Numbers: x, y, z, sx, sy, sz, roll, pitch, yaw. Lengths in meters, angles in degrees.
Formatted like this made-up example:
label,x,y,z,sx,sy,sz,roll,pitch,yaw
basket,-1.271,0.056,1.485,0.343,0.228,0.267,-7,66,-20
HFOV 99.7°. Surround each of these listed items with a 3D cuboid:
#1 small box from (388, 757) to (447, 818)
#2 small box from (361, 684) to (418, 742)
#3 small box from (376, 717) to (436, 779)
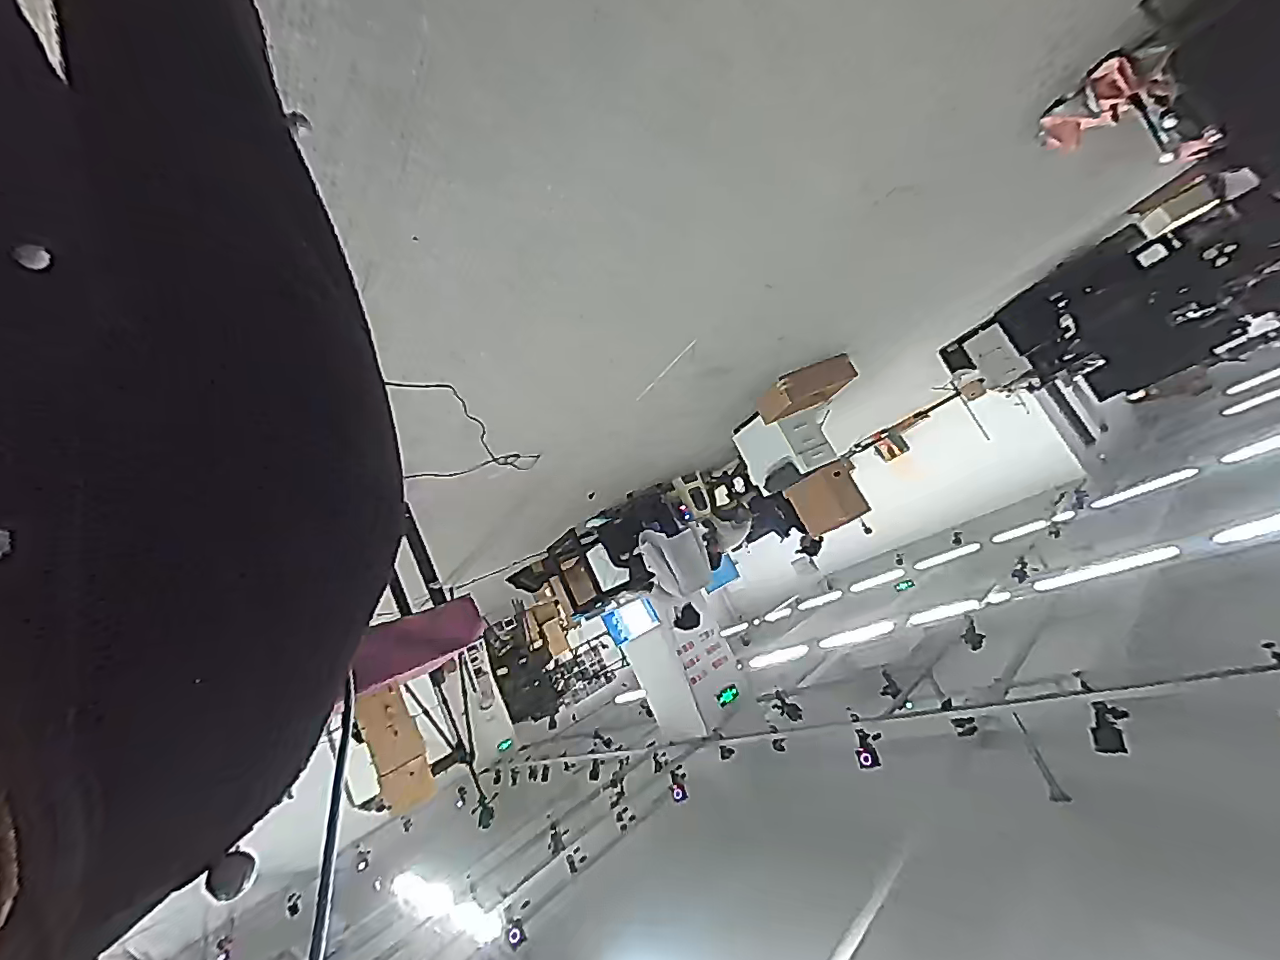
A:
label,x,y,z,sx,sy,sz,roll,pitch,yaw
small box,-0.949,1.297,2.287,0.168,0.176,0.179,-17,164,-42
small box,-1.094,1.010,2.349,0.168,0.176,0.179,-16,165,-42
small box,-1.011,1.151,2.322,0.179,0.176,0.168,-15,164,-43
